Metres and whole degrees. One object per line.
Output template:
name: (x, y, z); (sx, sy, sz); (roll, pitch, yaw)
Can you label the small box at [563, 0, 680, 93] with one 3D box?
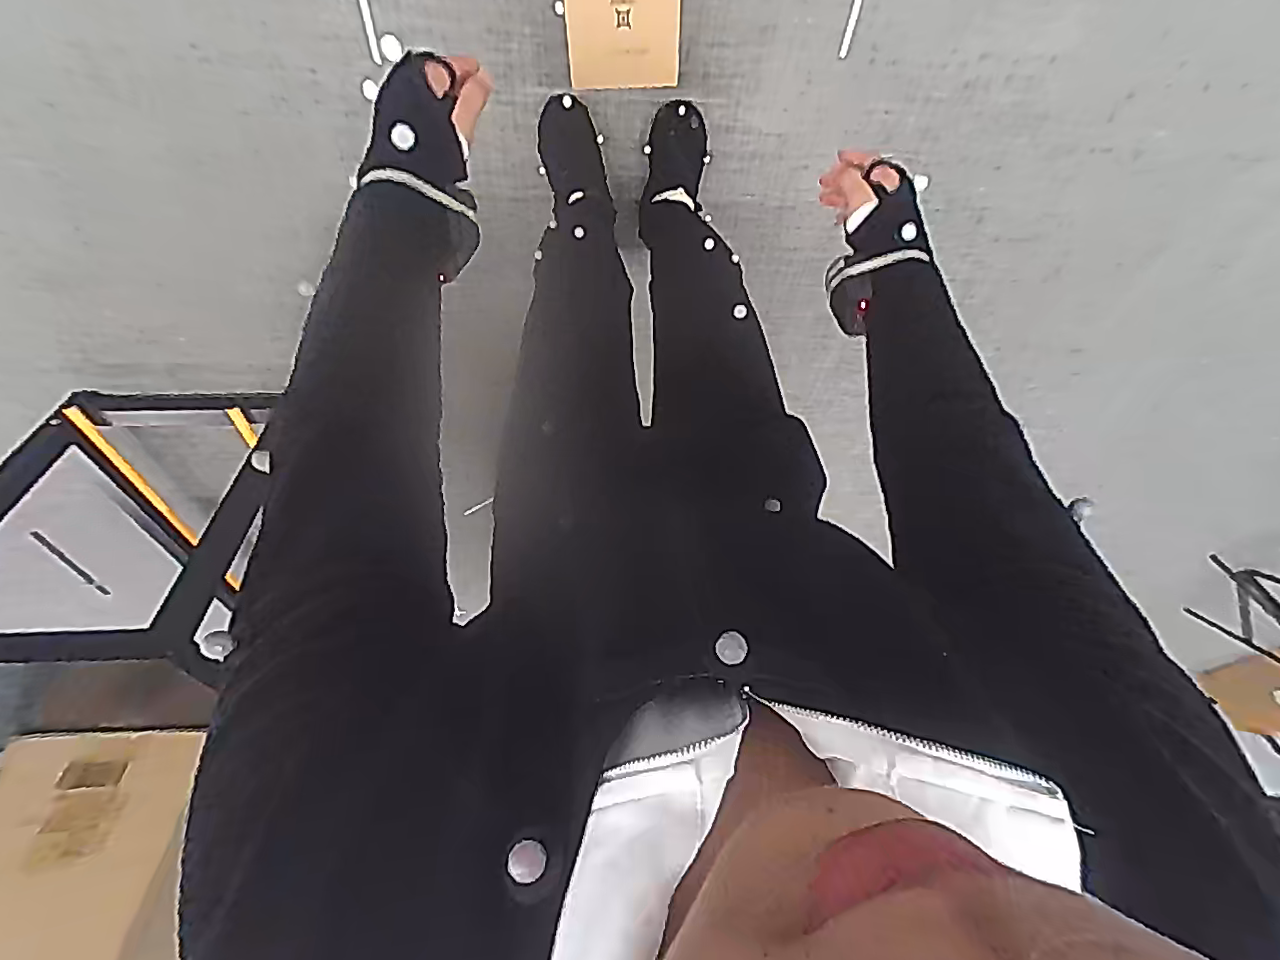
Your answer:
small box: (-0.031, -0.712, 0.813); (0.168, 0.176, 0.179); (-3, 140, -1)
